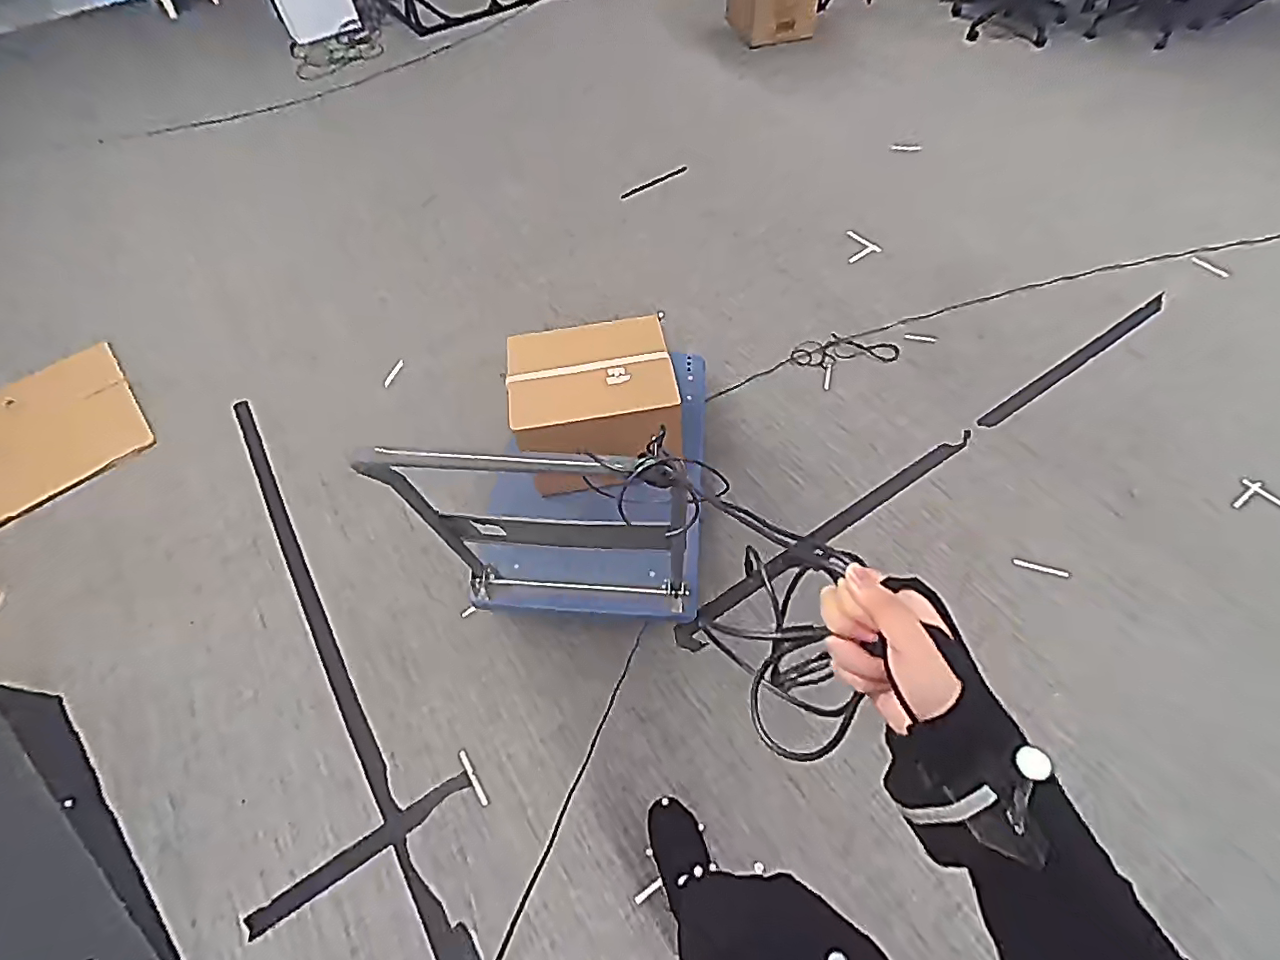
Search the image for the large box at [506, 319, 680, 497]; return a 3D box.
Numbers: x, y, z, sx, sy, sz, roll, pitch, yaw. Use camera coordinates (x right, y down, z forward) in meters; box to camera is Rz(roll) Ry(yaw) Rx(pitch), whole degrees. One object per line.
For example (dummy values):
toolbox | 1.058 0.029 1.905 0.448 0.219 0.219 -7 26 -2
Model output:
large box | -0.121 -0.186 1.456 0.408 0.320 0.320 -9 58 -3
